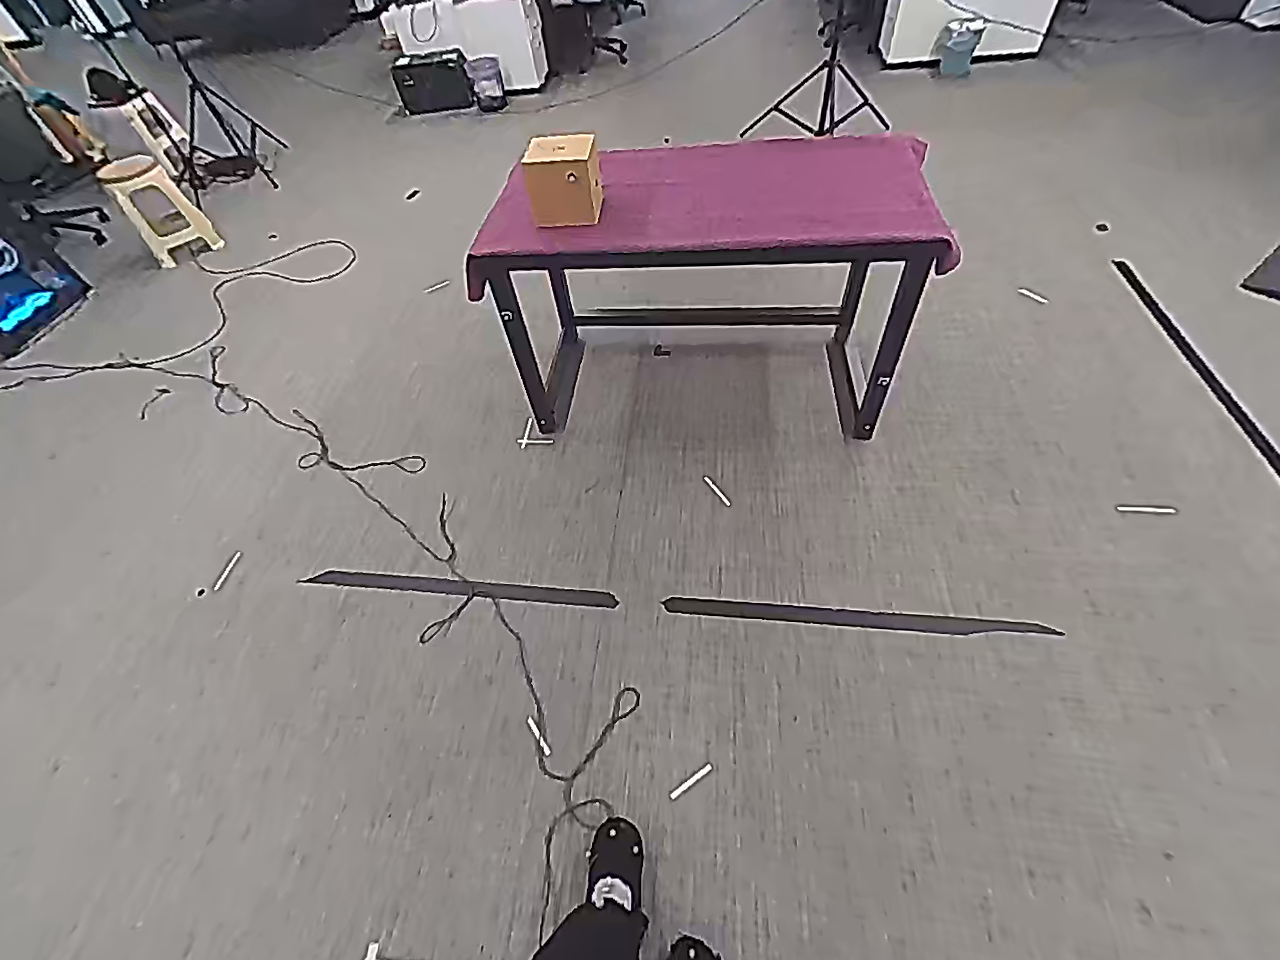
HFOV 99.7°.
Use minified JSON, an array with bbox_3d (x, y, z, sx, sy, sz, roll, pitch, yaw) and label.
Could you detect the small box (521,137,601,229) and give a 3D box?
[{"bbox_3d":[-0.205,-0.802,1.466,0.179,0.176,0.168,-1,51,6],"label":"small box"}]
